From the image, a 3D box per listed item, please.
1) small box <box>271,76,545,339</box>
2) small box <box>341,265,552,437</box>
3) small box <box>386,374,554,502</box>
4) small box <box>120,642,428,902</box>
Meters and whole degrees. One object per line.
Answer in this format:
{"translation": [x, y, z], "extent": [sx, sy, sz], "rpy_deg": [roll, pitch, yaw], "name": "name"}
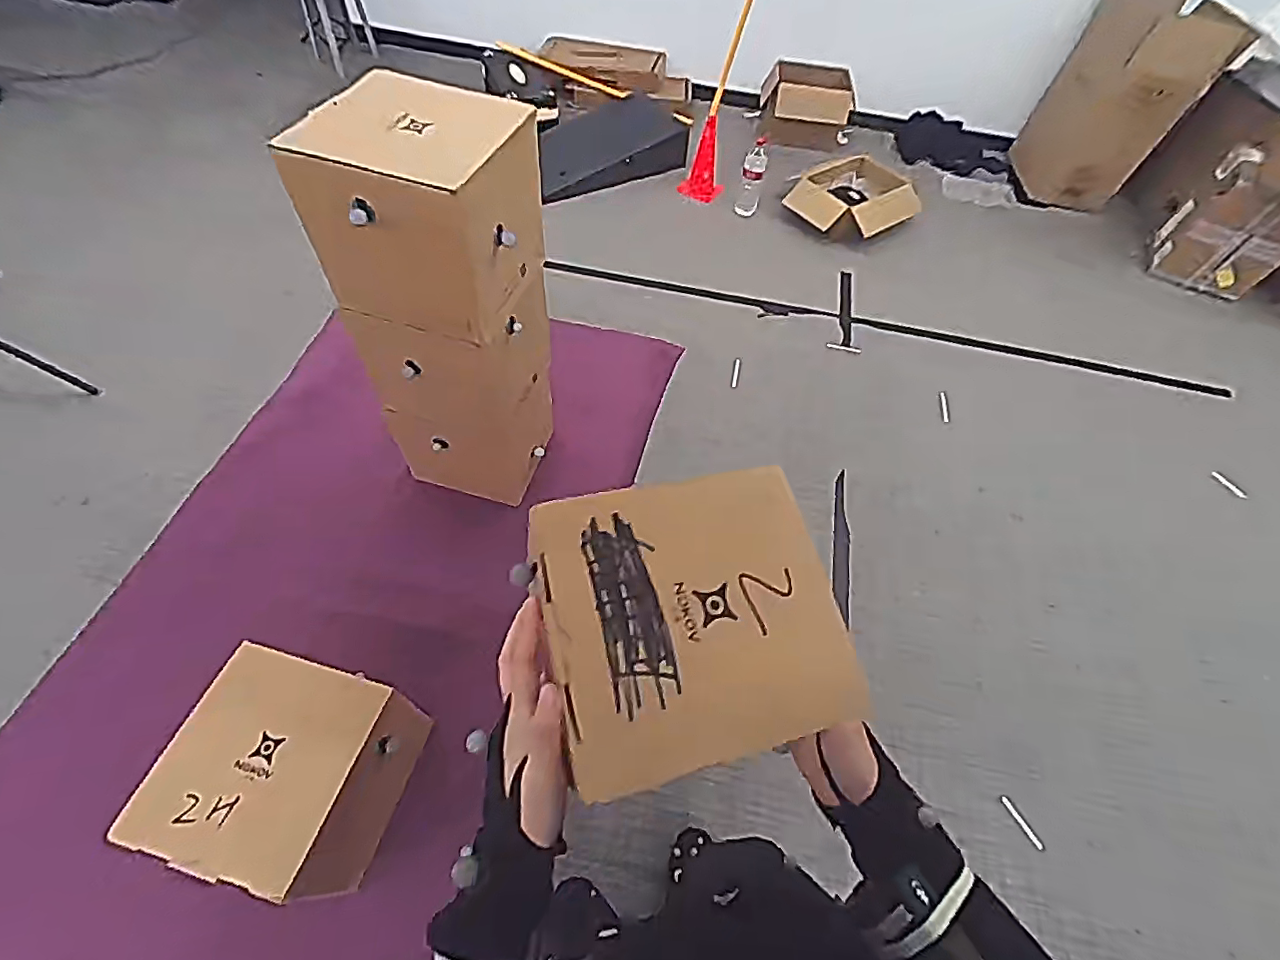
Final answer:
{"translation": [-0.208, -0.268, 0.551], "extent": [0.179, 0.176, 0.168], "rpy_deg": [16, 57, 6], "name": "small box"}
{"translation": [-0.226, -0.178, 0.687], "extent": [0.179, 0.176, 0.168], "rpy_deg": [16, 57, 7], "name": "small box"}
{"translation": [-0.242, -0.088, 0.822], "extent": [0.179, 0.176, 0.168], "rpy_deg": [15, 57, 5], "name": "small box"}
{"translation": [-0.341, 0.296, 0.555], "extent": [0.168, 0.176, 0.179], "rpy_deg": [15, 56, 6], "name": "small box"}
